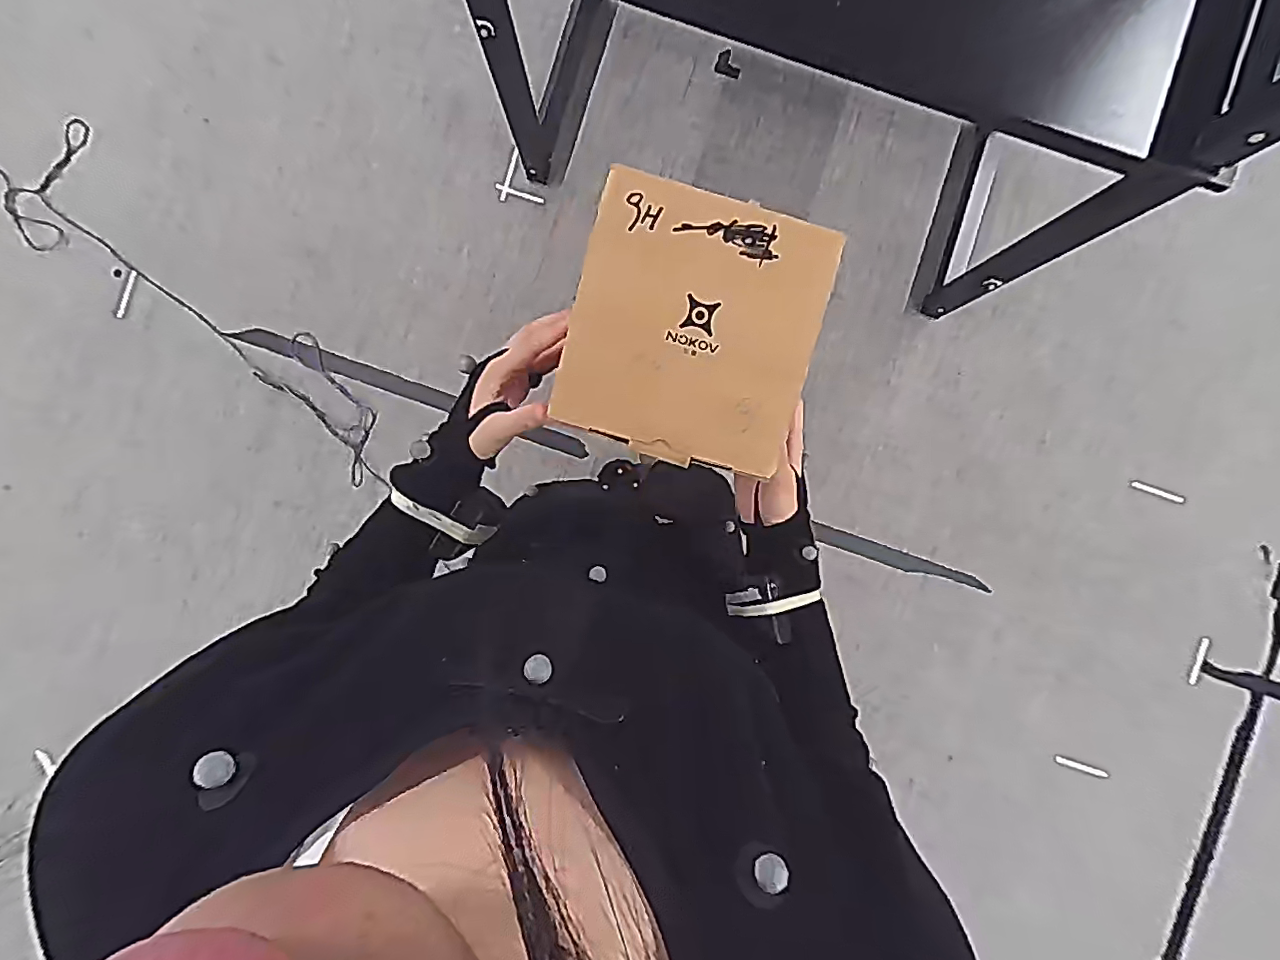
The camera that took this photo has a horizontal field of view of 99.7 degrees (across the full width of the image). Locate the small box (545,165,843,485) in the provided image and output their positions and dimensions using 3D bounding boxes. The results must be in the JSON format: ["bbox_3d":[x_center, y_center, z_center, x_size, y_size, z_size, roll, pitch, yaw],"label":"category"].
[{"bbox_3d":[0.033,-0.110,0.443,0.168,0.176,0.179,16,96,-4],"label":"small box"}]
